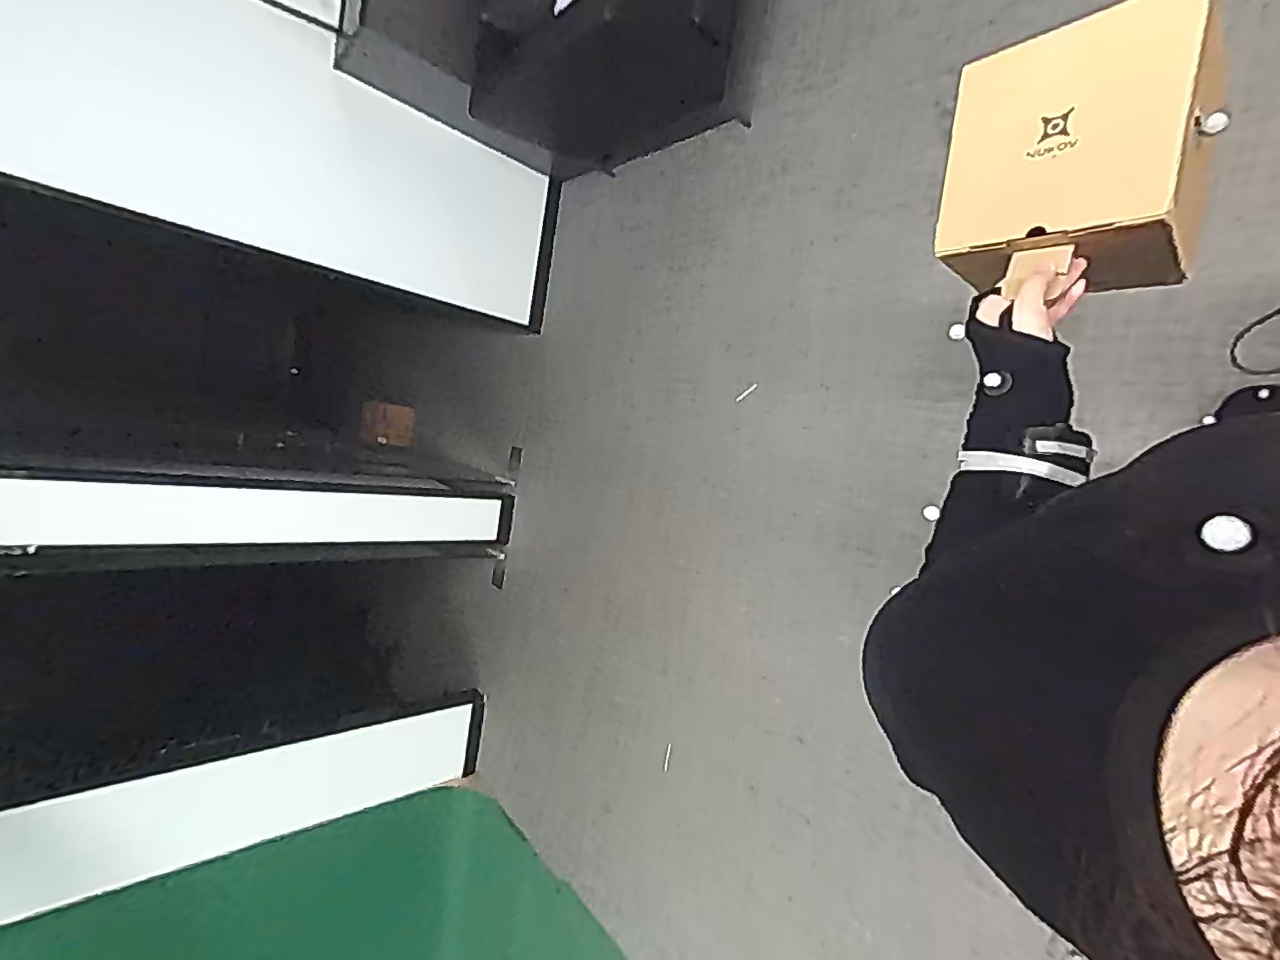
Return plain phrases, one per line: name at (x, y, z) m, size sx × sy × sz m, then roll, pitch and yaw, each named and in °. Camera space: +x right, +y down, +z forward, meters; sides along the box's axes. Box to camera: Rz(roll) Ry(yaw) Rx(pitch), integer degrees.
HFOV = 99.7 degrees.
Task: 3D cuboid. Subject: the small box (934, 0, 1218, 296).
small box at (0.406, -0.289, 0.507) m, size 0.168 × 0.176 × 0.179 m, roll 12°, pitch 97°, yaw 47°
